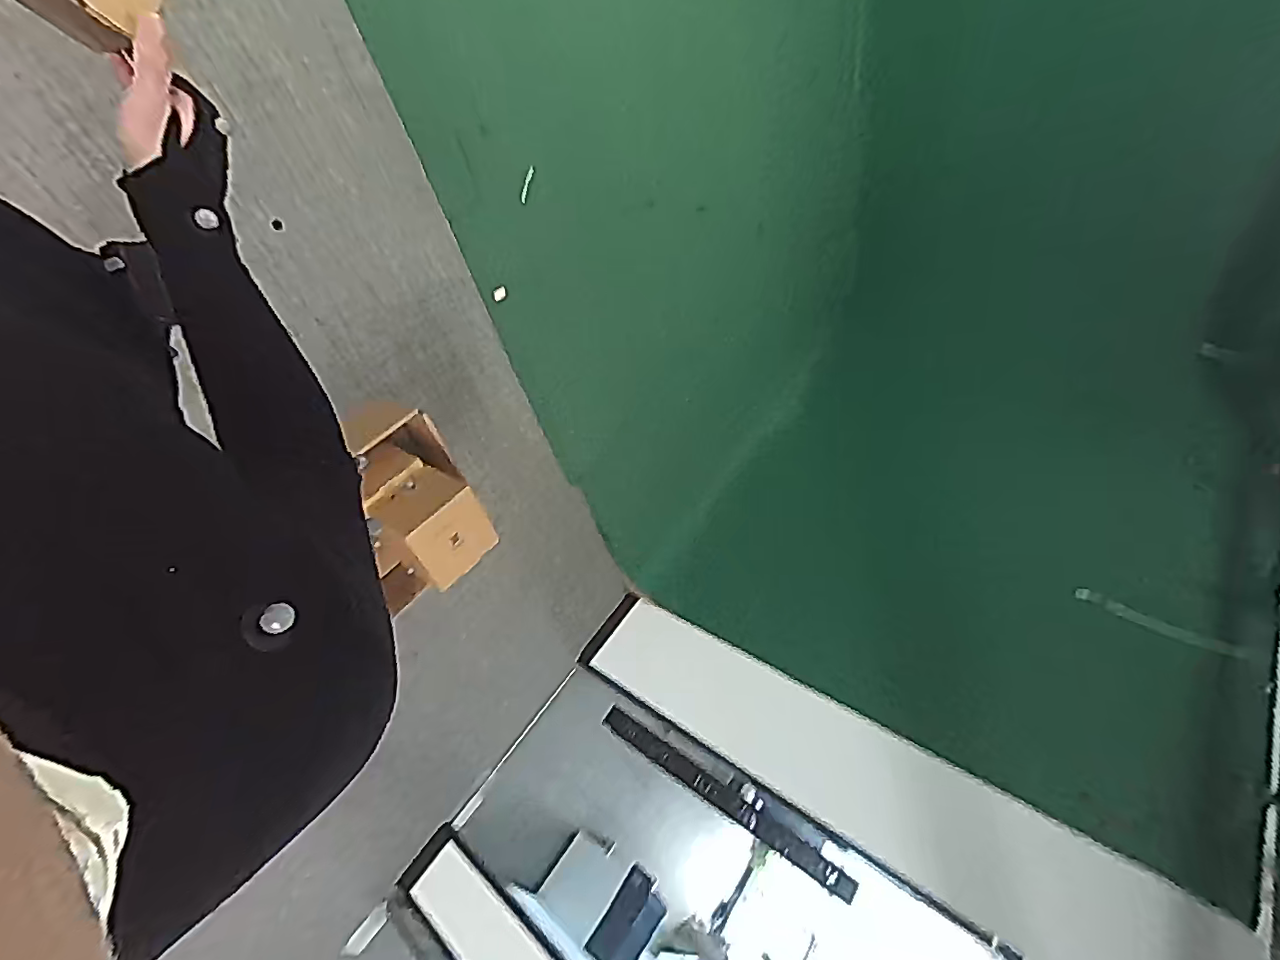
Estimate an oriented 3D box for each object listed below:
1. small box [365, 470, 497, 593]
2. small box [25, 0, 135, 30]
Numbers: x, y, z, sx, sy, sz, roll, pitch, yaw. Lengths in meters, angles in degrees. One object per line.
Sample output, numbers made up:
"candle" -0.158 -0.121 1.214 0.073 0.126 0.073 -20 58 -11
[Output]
"small box" -0.448 0.104 1.166 0.168 0.176 0.179 -46 139 -32
"small box" -0.432 -0.448 0.359 0.168 0.176 0.179 22 94 -57
